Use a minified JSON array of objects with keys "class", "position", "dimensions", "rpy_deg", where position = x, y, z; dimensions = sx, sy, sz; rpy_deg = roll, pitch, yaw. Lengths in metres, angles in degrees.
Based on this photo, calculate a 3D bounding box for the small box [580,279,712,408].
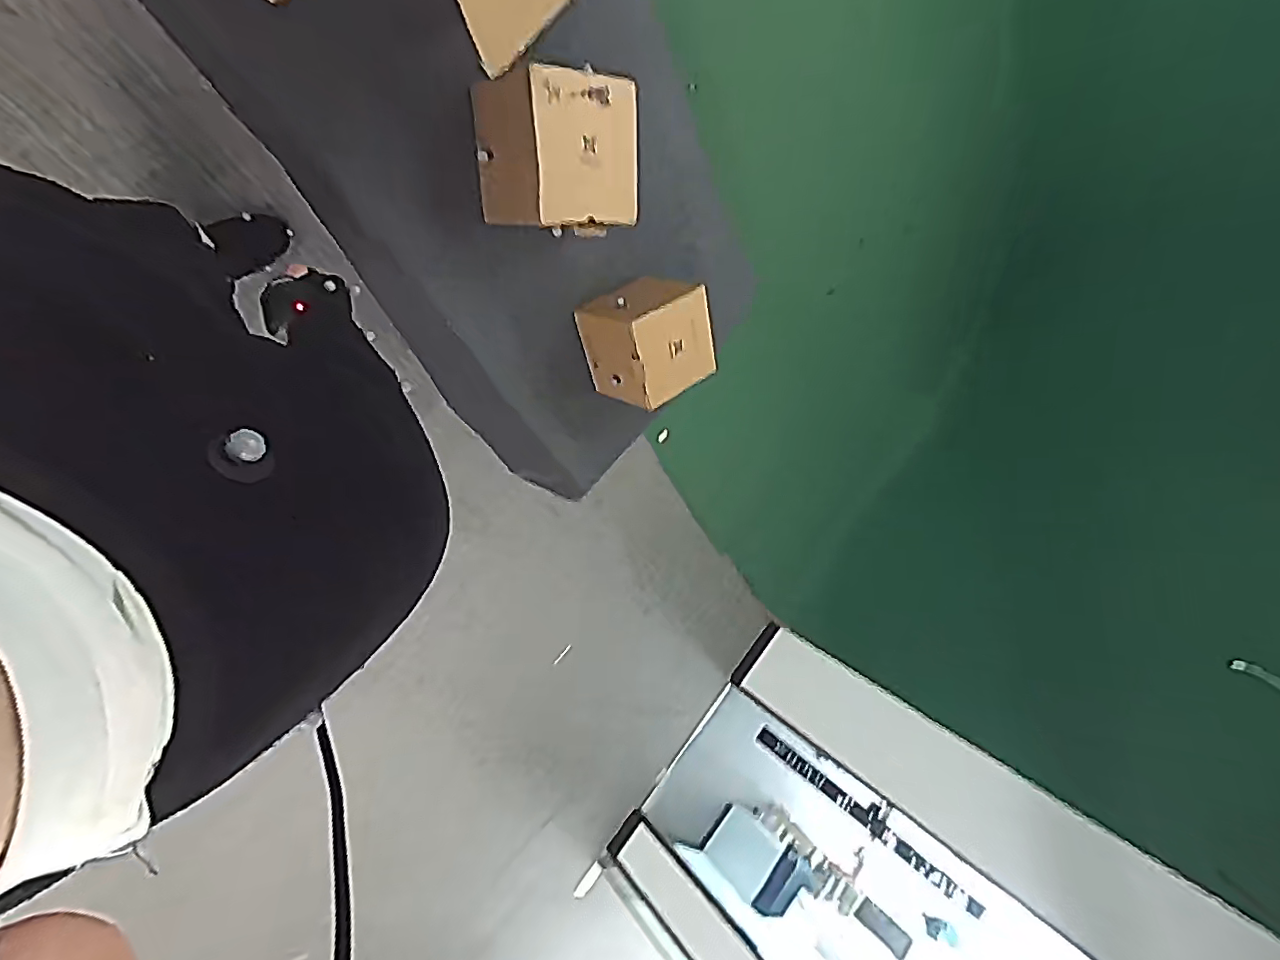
[{"class":"small box","position":[0.007,-0.260,1.003],"dimensions":[0.179,0.176,0.168],"rpy_deg":[-35,131,-27]}]

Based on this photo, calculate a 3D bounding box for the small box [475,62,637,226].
[{"class":"small box","position":[-0.122,-0.468,0.780],"dimensions":[0.168,0.176,0.179],"rpy_deg":[-18,122,-35]}]
